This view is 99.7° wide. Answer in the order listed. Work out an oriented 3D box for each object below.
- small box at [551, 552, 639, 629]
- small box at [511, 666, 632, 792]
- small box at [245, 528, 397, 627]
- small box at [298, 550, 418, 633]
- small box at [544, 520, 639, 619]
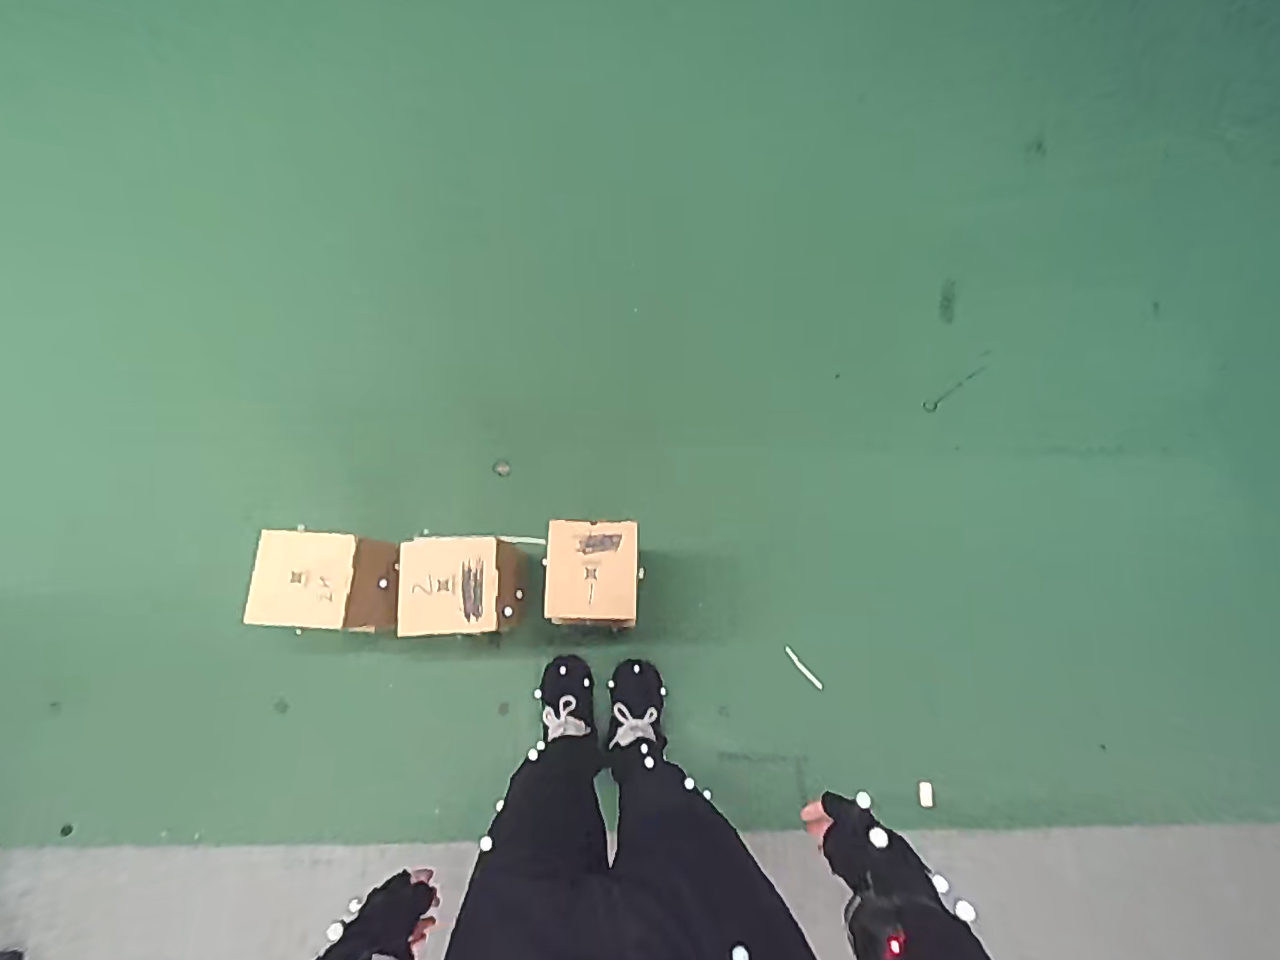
[{"bbox_3d":[-0.095,0.239,1.210,0.179,0.176,0.168,3,77,0],"label":"small box"},{"bbox_3d":[-0.151,0.523,1.158,0.179,0.176,0.168,28,89,24],"label":"small box"},{"bbox_3d":[-0.600,0.191,1.038,0.179,0.176,0.168,4,77,0],"label":"small box"},{"bbox_3d":[-0.613,0.237,1.196,0.168,0.176,0.179,5,77,0],"label":"small box"},{"bbox_3d":[-0.091,0.179,1.056,0.168,0.176,0.179,2,77,-2],"label":"small box"}]
